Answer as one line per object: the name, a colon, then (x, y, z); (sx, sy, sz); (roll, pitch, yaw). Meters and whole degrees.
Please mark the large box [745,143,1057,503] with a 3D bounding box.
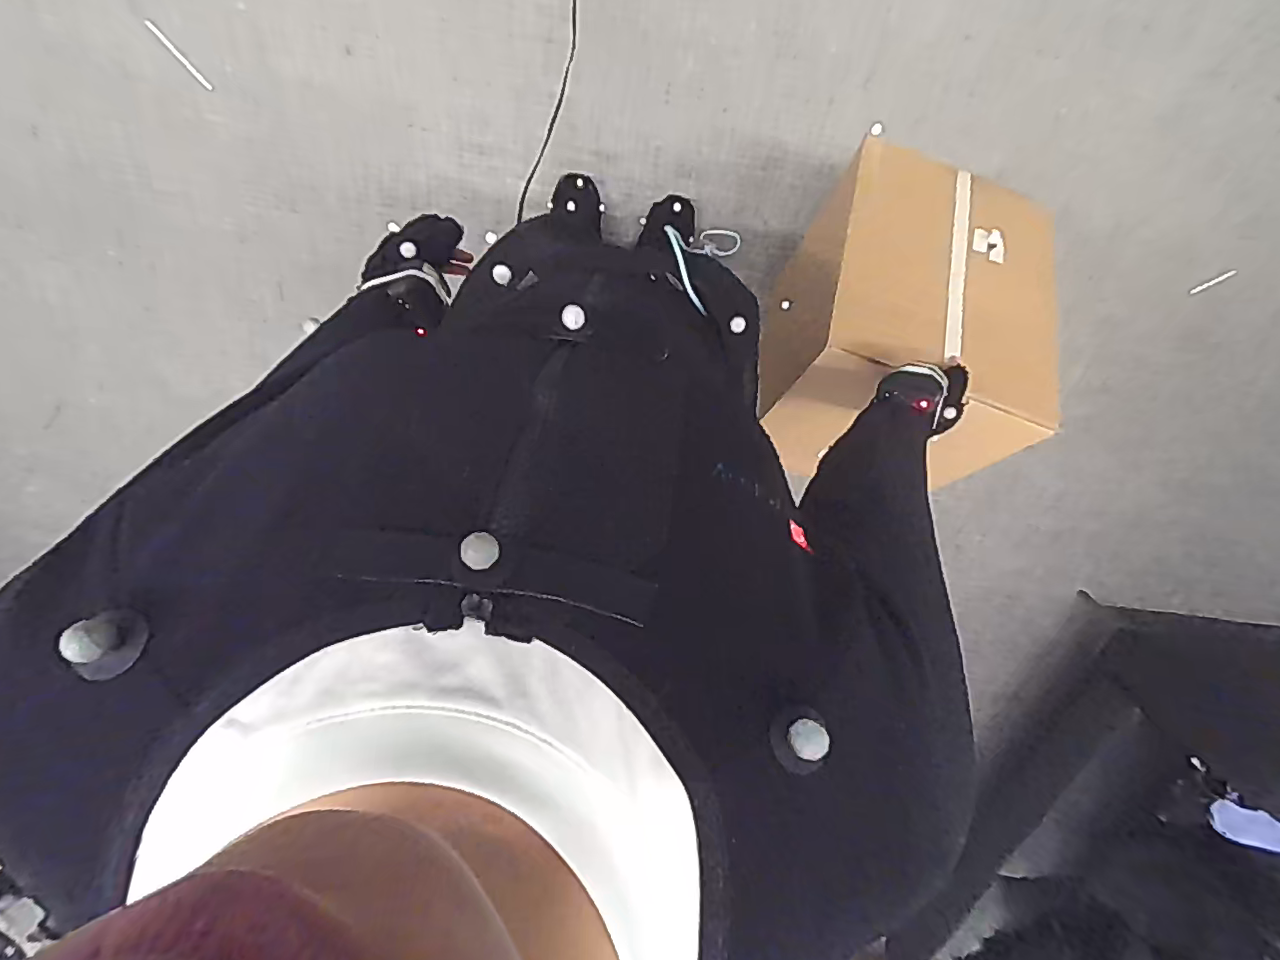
large box: (0.396, -0.227, 0.872); (0.320, 0.408, 0.320); (20, 156, -5)
